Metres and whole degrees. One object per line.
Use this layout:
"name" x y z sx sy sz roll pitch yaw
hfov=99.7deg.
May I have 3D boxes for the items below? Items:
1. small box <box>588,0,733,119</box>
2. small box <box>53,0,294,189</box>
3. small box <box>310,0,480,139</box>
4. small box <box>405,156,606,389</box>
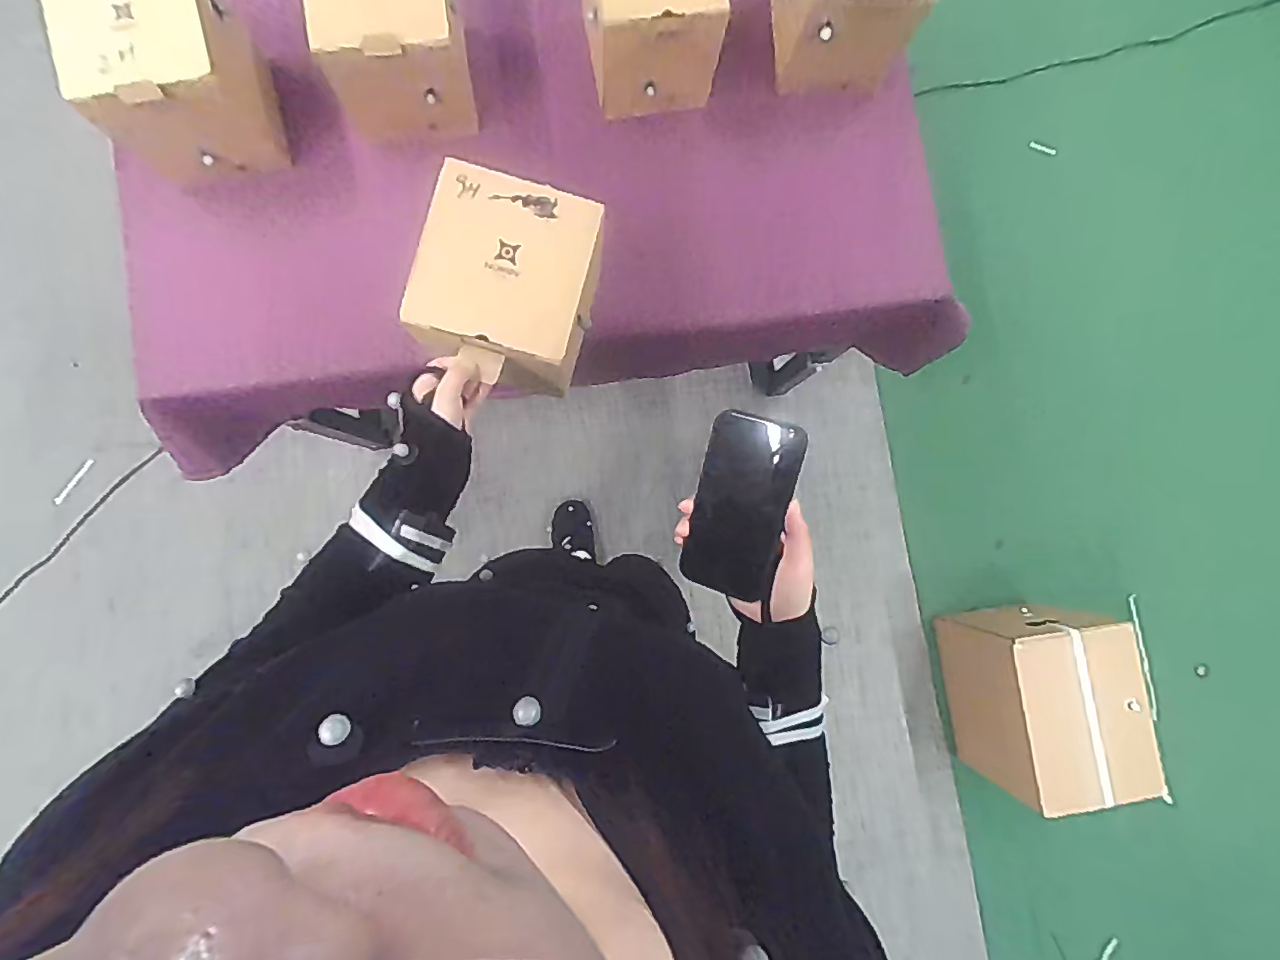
"small box" 0.019 -0.658 0.763 0.168 0.176 0.179 -10 87 -4
"small box" -0.595 -0.524 0.710 0.168 0.176 0.179 -14 87 -5
"small box" -0.324 -0.596 0.735 0.168 0.176 0.179 -8 86 -6
"small box" -0.140 -0.217 0.619 0.168 0.176 0.179 14 86 -6
